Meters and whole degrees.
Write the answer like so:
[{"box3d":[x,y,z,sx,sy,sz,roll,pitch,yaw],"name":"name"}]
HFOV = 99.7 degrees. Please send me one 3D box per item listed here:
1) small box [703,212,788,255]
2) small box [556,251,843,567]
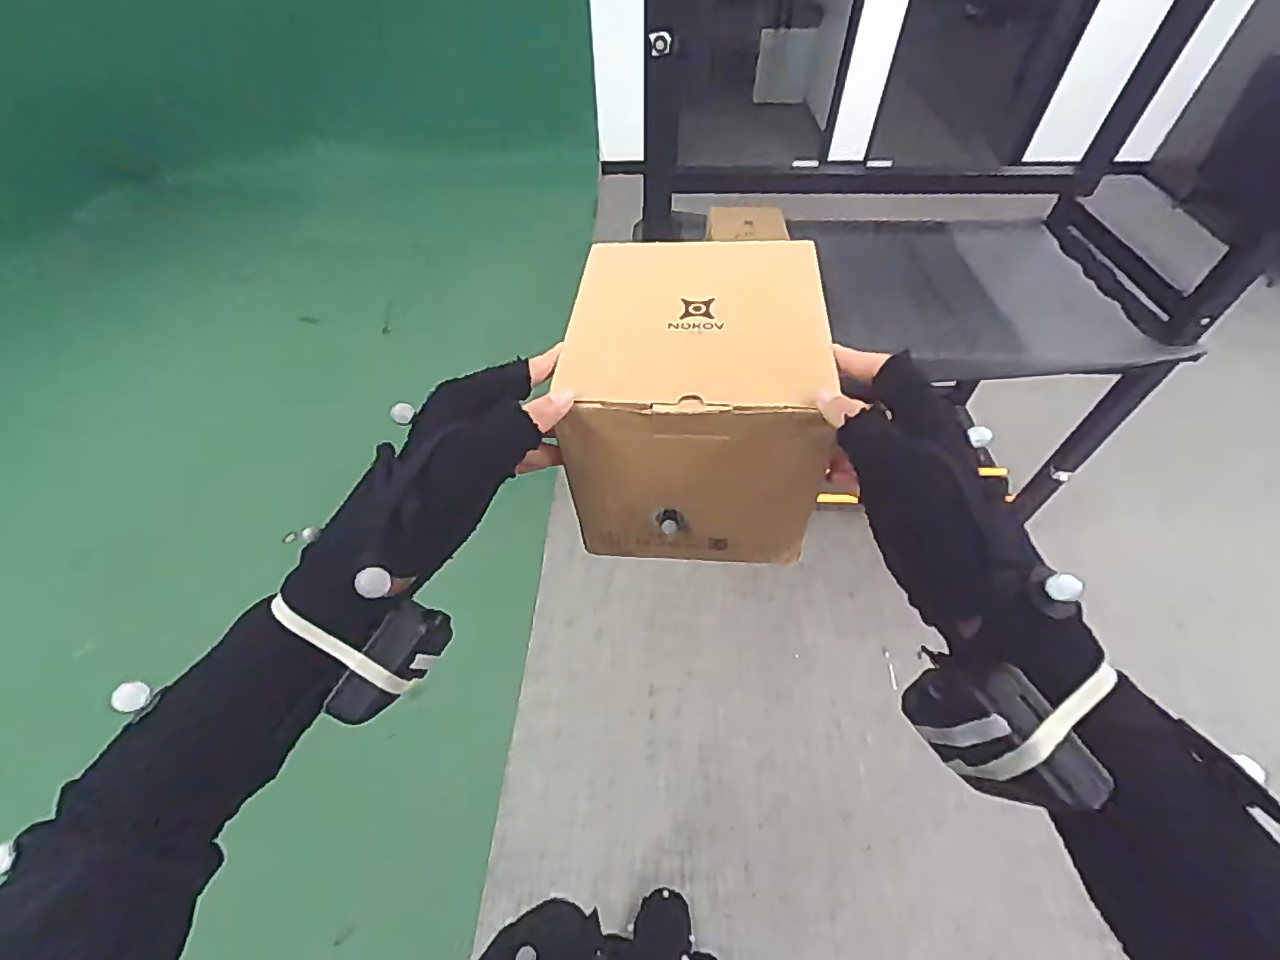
[{"box3d":[0.233,-0.498,1.252,0.168,0.176,0.179,1,50,1],"name":"small box"},{"box3d":[0.044,-0.054,0.418,0.168,0.176,0.179,2,52,6],"name":"small box"}]
